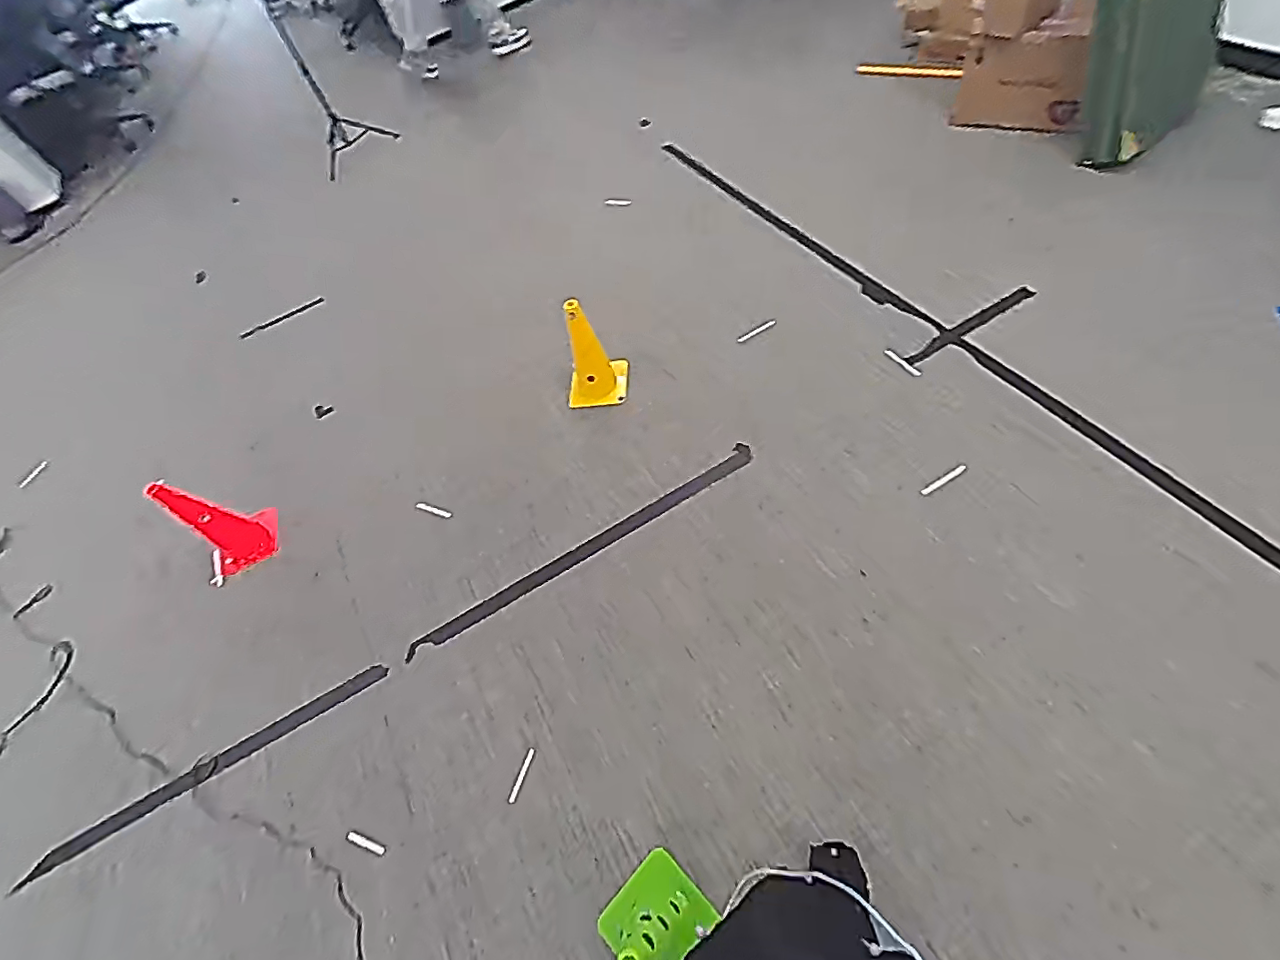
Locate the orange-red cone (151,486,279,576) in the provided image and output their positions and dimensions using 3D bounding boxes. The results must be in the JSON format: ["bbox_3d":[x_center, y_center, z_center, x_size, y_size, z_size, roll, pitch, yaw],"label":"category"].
[{"bbox_3d":[-1.345,0.122,1.687,0.199,0.360,0.198,-24,57,-5],"label":"orange-red cone"}]

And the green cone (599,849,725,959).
[{"bbox_3d":[0.009,0.821,0.960,0.200,0.368,0.202,37,73,29],"label":"green cone"}]
